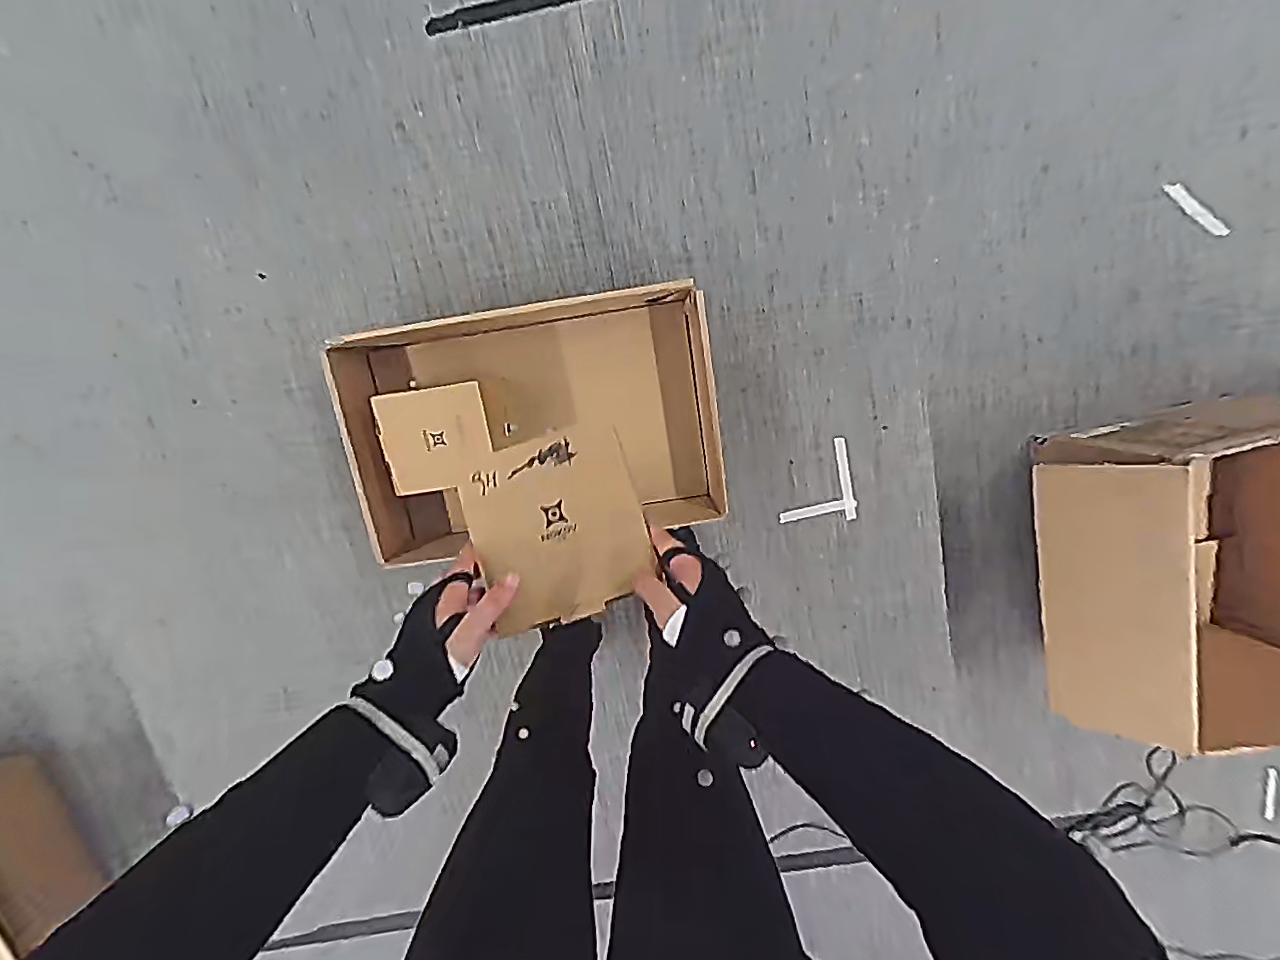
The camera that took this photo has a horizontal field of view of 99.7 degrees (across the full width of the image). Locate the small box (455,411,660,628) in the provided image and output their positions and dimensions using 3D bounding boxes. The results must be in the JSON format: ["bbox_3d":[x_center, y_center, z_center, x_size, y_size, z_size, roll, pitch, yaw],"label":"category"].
[{"bbox_3d":[-0.078,0.047,0.604,0.168,0.176,0.179,-19,81,0],"label":"small box"}]

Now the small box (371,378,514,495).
[{"bbox_3d":[-0.330,-0.083,0.947,0.179,0.176,0.168,-10,104,0],"label":"small box"}]
